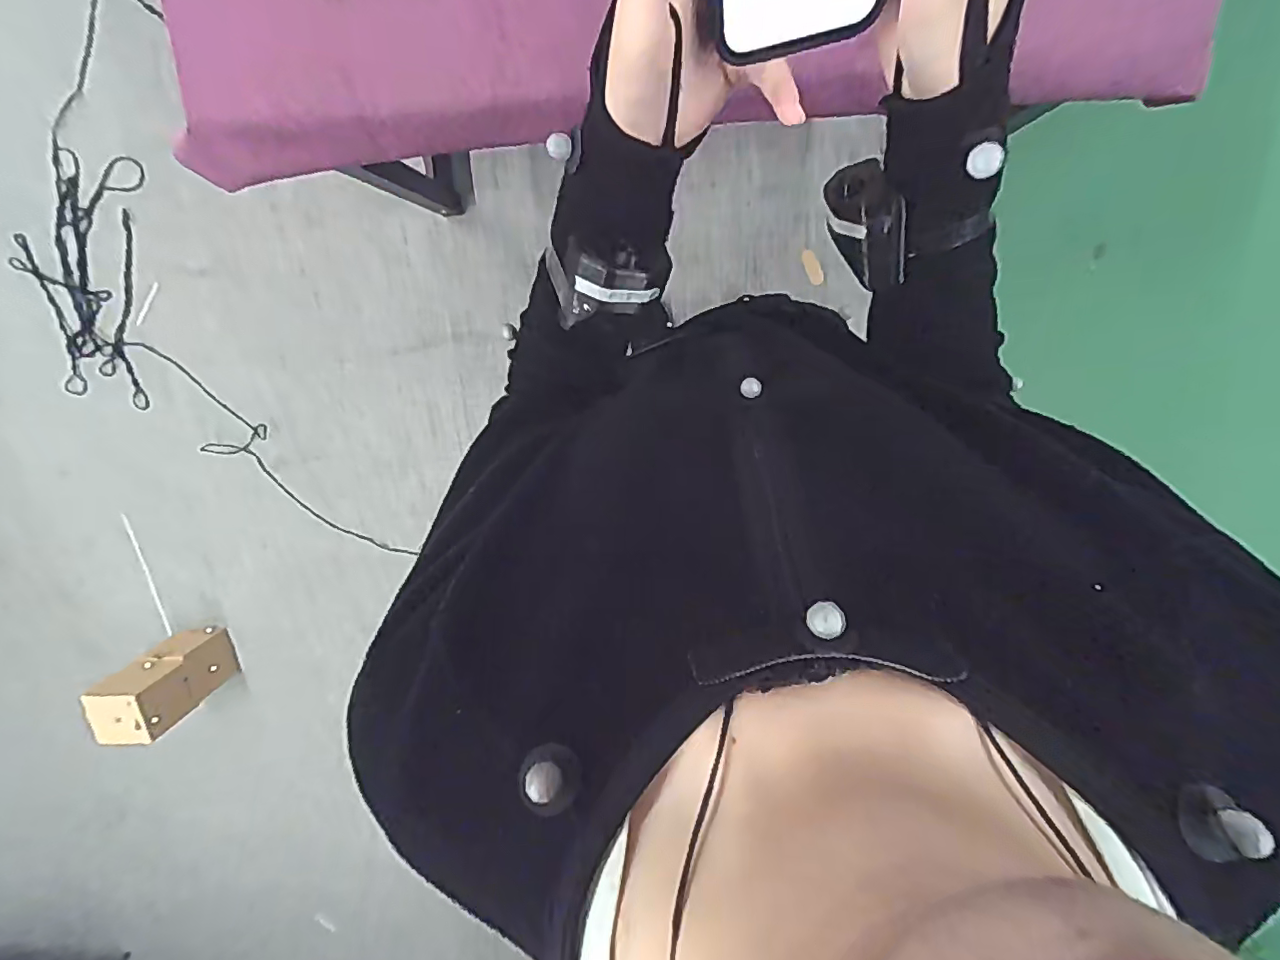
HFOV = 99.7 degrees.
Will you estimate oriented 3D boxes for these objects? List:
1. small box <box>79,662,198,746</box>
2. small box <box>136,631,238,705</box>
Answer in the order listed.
[{"bbox_3d":[-1.481,0.659,1.608,0.179,0.176,0.168,-2,107,7],"label":"small box"},{"bbox_3d":[-1.468,0.607,1.763,0.168,0.176,0.179,-3,107,7],"label":"small box"}]
